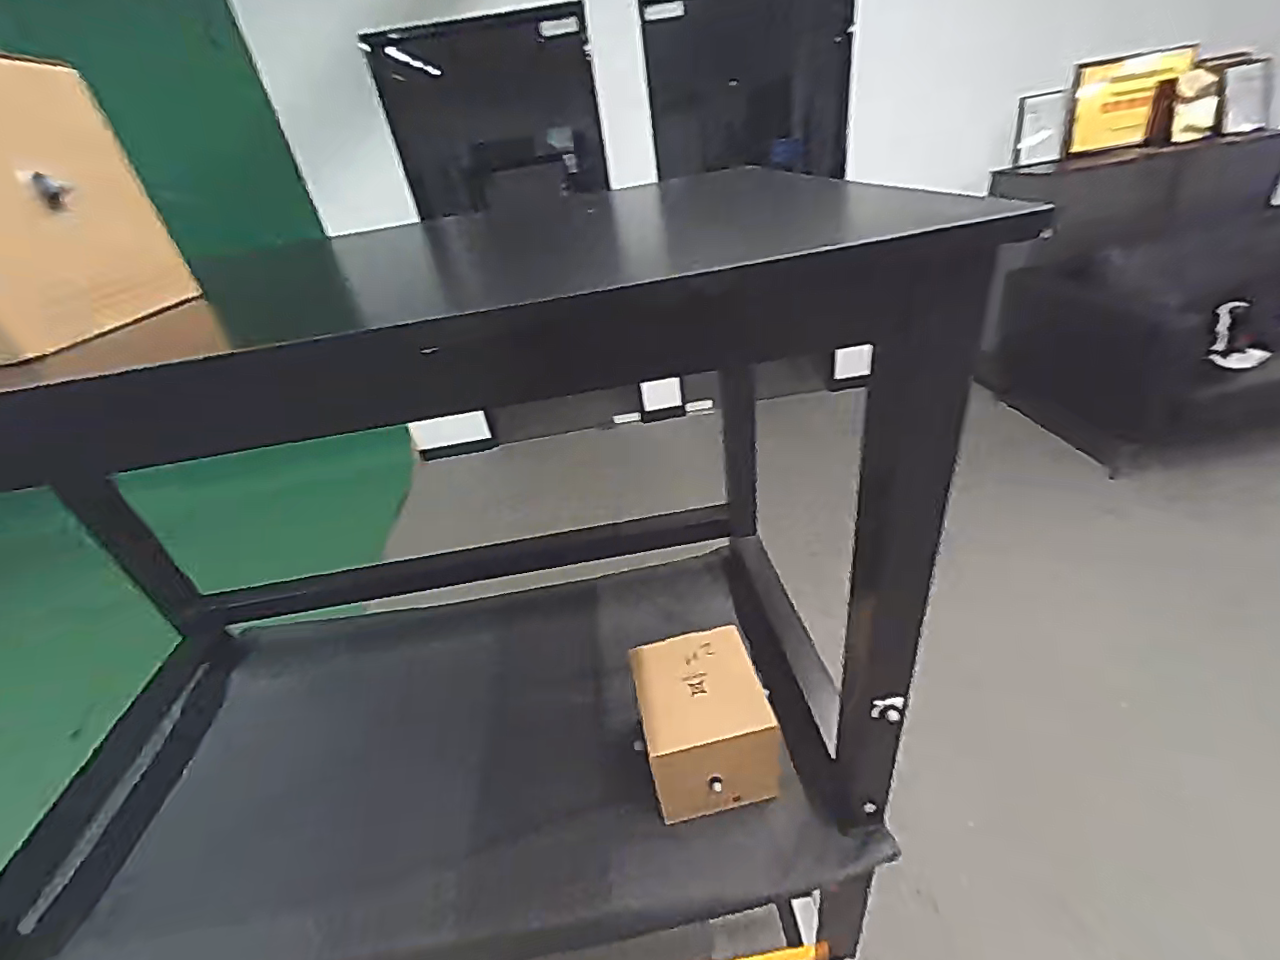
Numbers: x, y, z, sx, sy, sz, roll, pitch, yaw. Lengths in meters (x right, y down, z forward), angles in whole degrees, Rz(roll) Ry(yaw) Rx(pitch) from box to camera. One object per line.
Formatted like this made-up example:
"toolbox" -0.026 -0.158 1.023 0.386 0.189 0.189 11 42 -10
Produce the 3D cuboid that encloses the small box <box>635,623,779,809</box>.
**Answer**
"small box" 0.095 0.344 0.783 0.168 0.176 0.179 -12 32 -4
